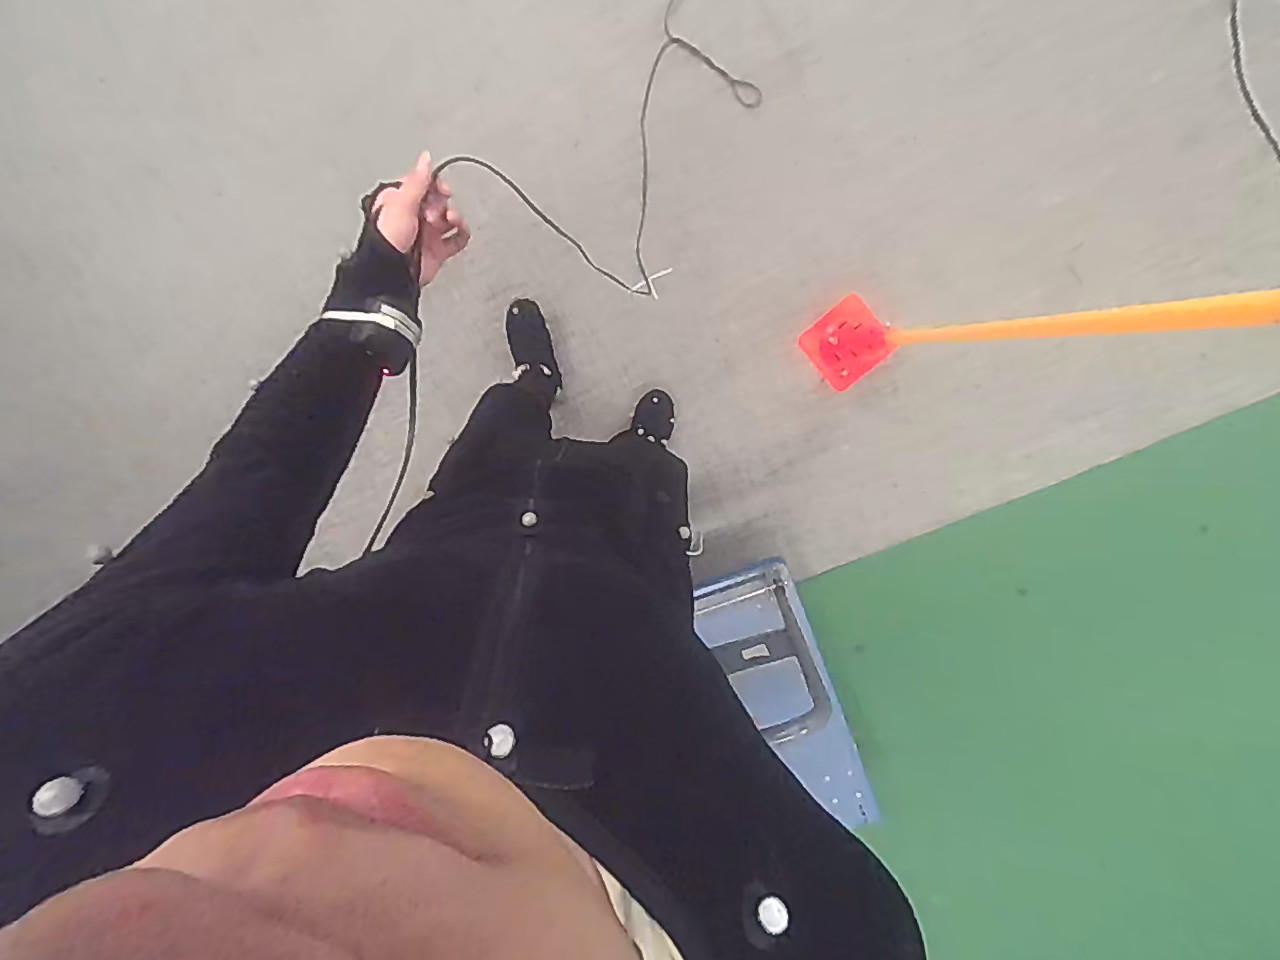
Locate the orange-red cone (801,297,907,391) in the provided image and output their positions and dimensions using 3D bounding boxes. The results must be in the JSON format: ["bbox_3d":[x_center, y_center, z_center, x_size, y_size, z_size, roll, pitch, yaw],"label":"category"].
[{"bbox_3d":[0.556,-0.333,1.309,0.199,0.360,0.198,-39,97,10],"label":"orange-red cone"}]
